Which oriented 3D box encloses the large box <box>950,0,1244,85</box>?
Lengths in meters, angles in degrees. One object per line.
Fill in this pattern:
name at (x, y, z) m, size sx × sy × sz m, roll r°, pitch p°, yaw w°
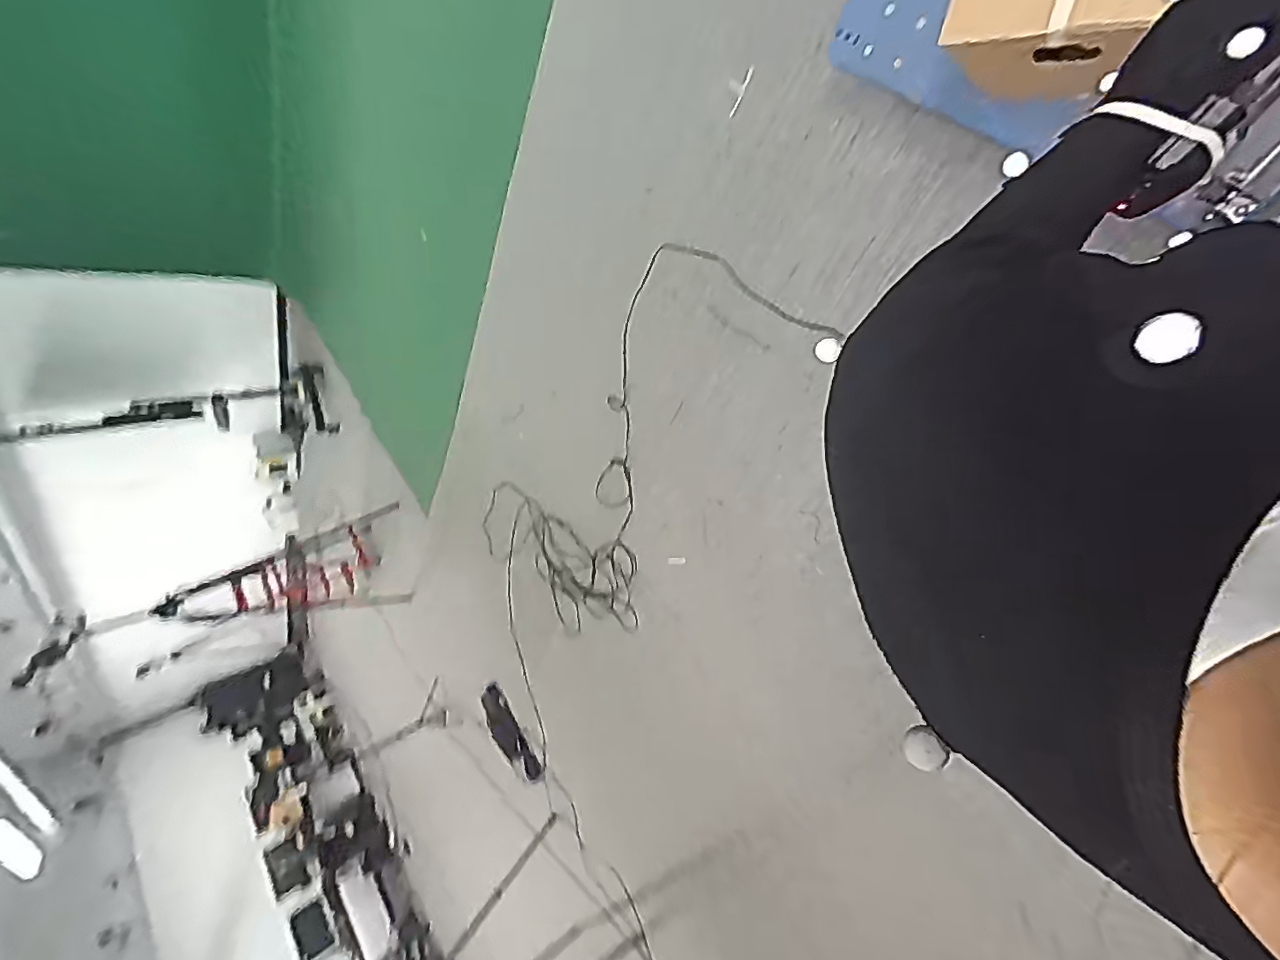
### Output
large box at (0.699, -0.826, 0.742) m, size 0.320 × 0.320 × 0.408 m, roll 30°, pitch 123°, yaw 36°
